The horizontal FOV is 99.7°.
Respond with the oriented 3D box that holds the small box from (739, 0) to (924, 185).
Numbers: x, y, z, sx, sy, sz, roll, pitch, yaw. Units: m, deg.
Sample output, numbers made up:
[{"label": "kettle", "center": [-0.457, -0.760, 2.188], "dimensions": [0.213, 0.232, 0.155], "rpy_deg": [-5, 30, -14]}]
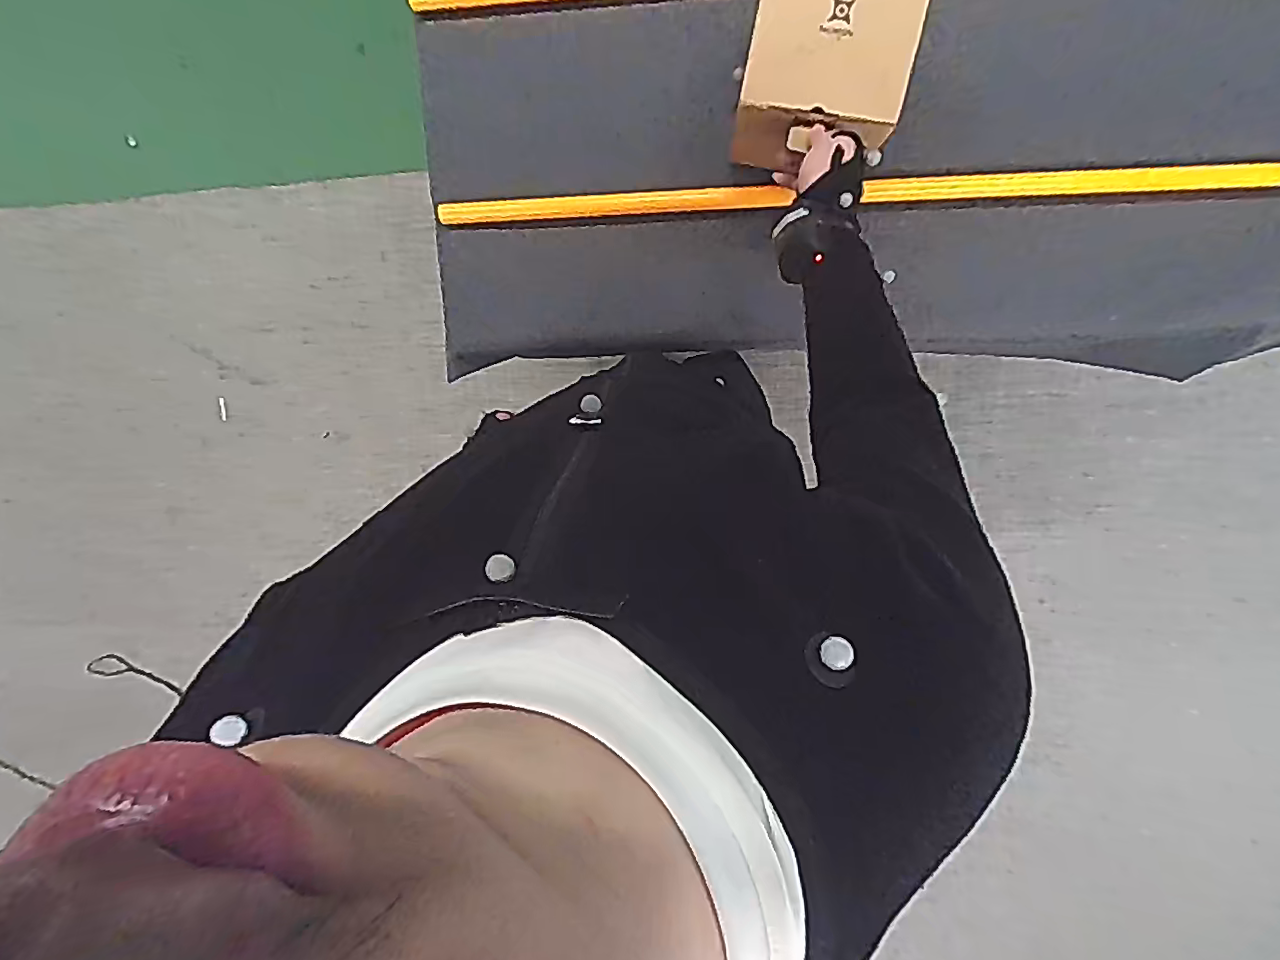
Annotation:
[{"label": "small box", "center": [0.210, -0.468, 0.631], "dimensions": [0.168, 0.176, 0.179], "rpy_deg": [9, 101, 6]}]
